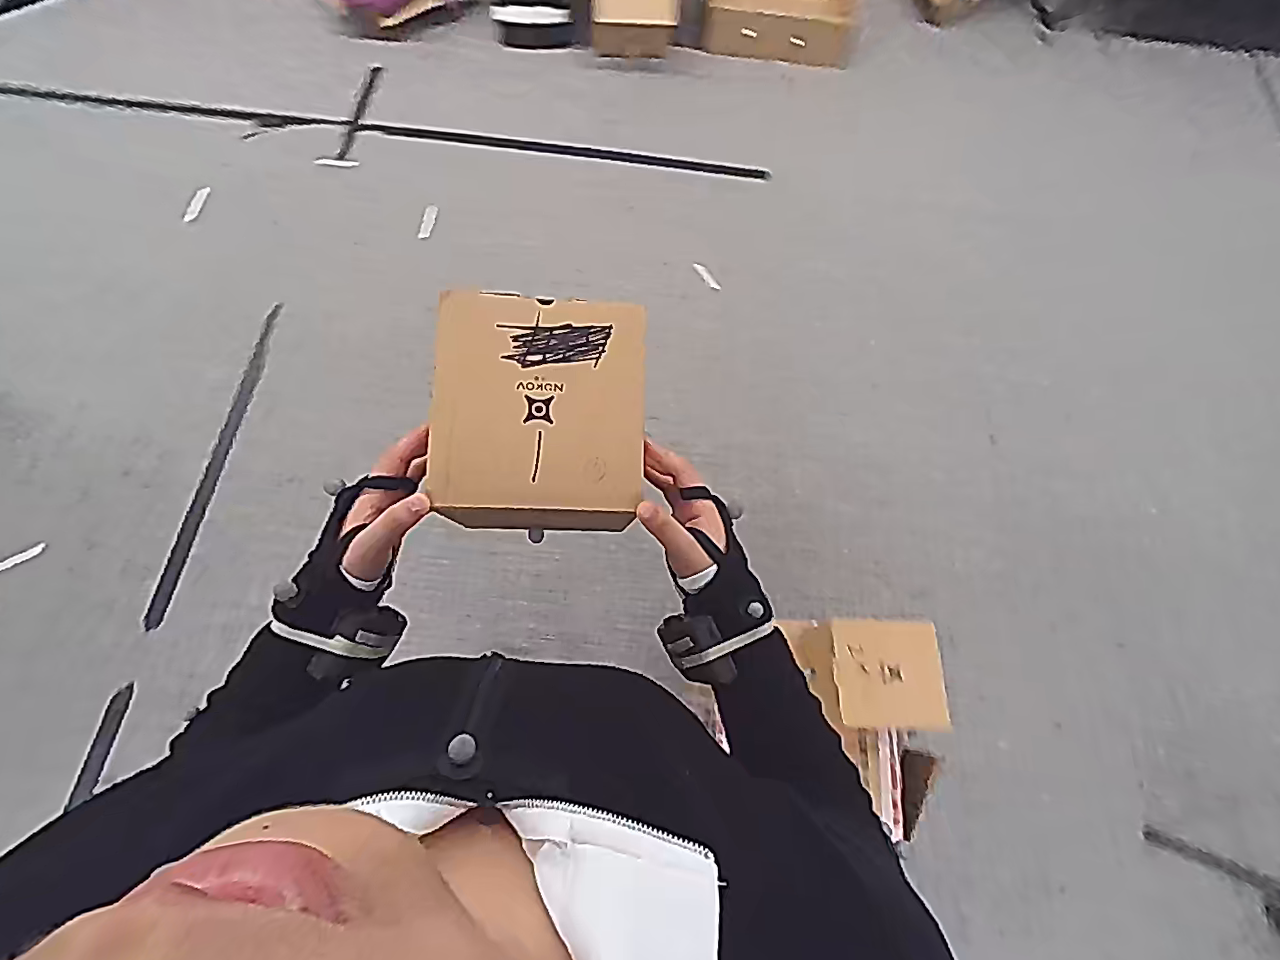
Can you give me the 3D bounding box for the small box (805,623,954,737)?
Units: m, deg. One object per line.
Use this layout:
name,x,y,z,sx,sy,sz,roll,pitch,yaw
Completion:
small box,0.401,0.344,0.935,0.179,0.176,0.168,2,68,1
